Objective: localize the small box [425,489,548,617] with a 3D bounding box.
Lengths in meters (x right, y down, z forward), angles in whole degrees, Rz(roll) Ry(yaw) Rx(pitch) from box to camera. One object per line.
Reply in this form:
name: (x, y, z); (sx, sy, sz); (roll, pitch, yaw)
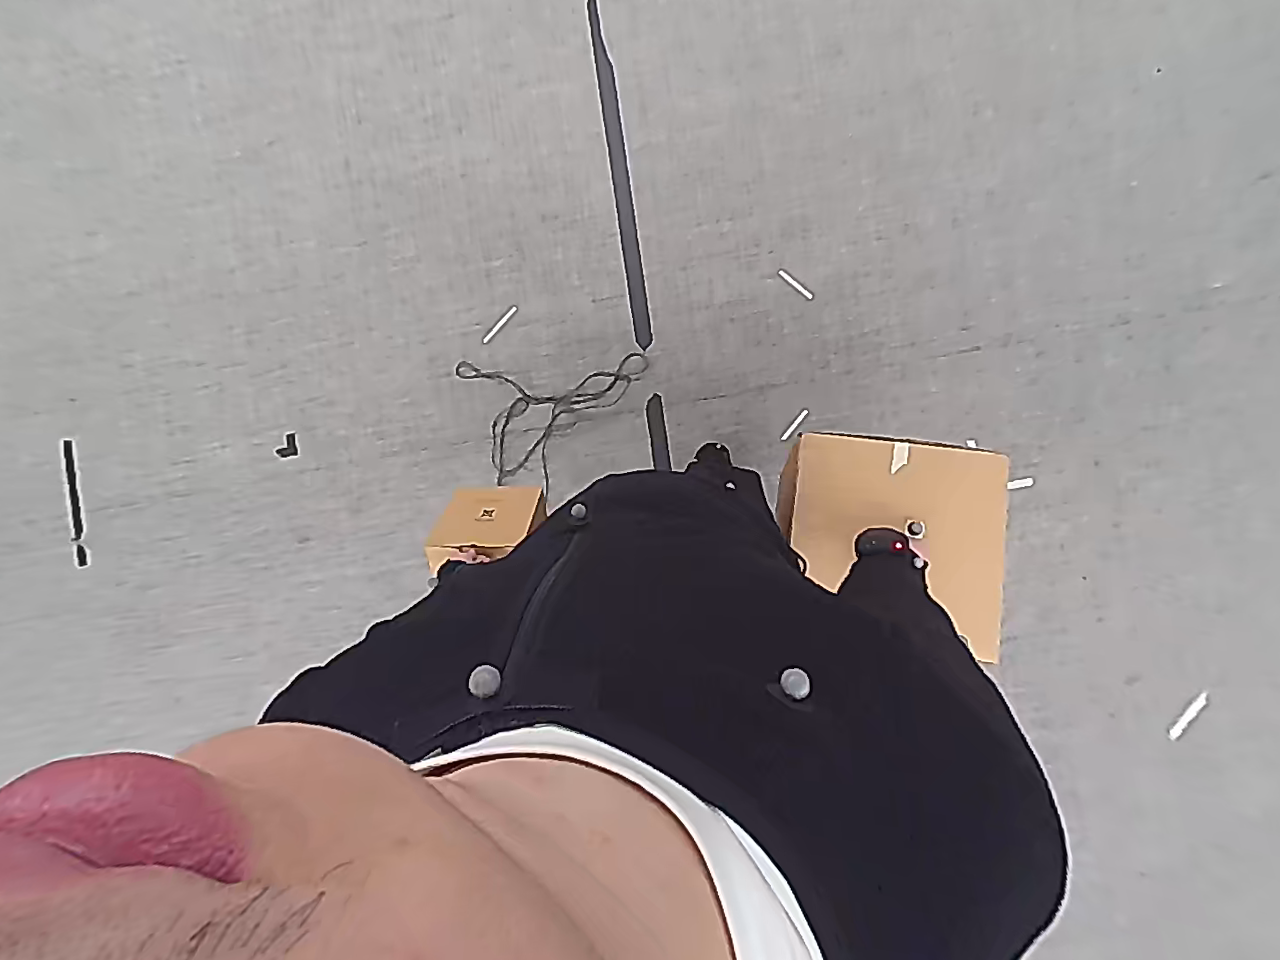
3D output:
small box: (-0.268, 0.133, 0.995); (0.168, 0.179, 0.176); (1, 123, 2)
